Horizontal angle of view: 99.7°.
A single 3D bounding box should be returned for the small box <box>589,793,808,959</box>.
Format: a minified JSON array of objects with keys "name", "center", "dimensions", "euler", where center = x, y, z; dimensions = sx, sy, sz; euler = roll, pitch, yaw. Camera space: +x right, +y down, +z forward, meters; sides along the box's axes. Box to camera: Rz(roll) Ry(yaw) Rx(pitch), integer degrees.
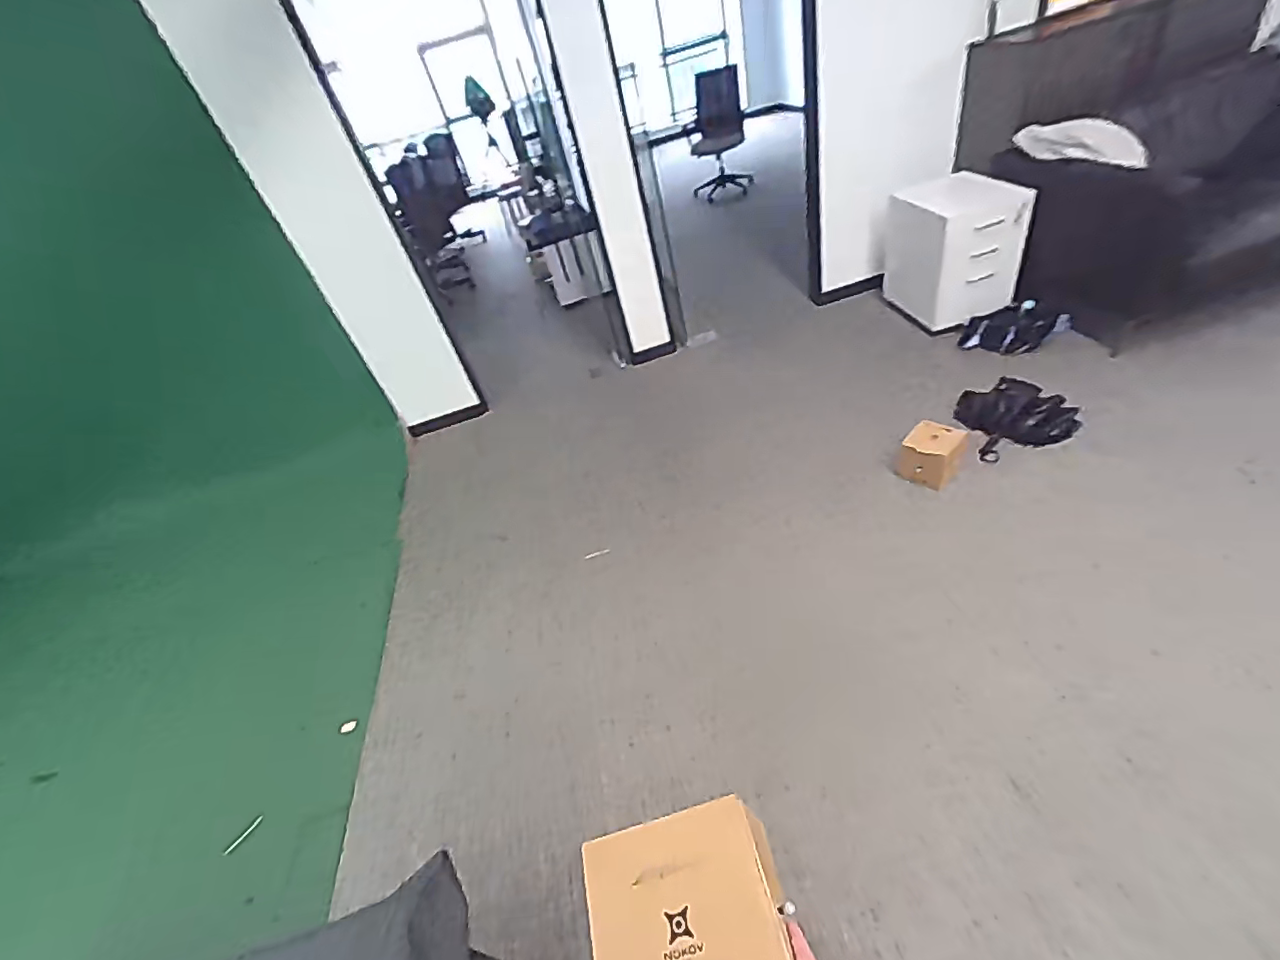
[{"name":"small box","center":[0.065,0.443,0.533],"dimensions":[0.168,0.176,0.179],"euler":[-21,45,4]}]
